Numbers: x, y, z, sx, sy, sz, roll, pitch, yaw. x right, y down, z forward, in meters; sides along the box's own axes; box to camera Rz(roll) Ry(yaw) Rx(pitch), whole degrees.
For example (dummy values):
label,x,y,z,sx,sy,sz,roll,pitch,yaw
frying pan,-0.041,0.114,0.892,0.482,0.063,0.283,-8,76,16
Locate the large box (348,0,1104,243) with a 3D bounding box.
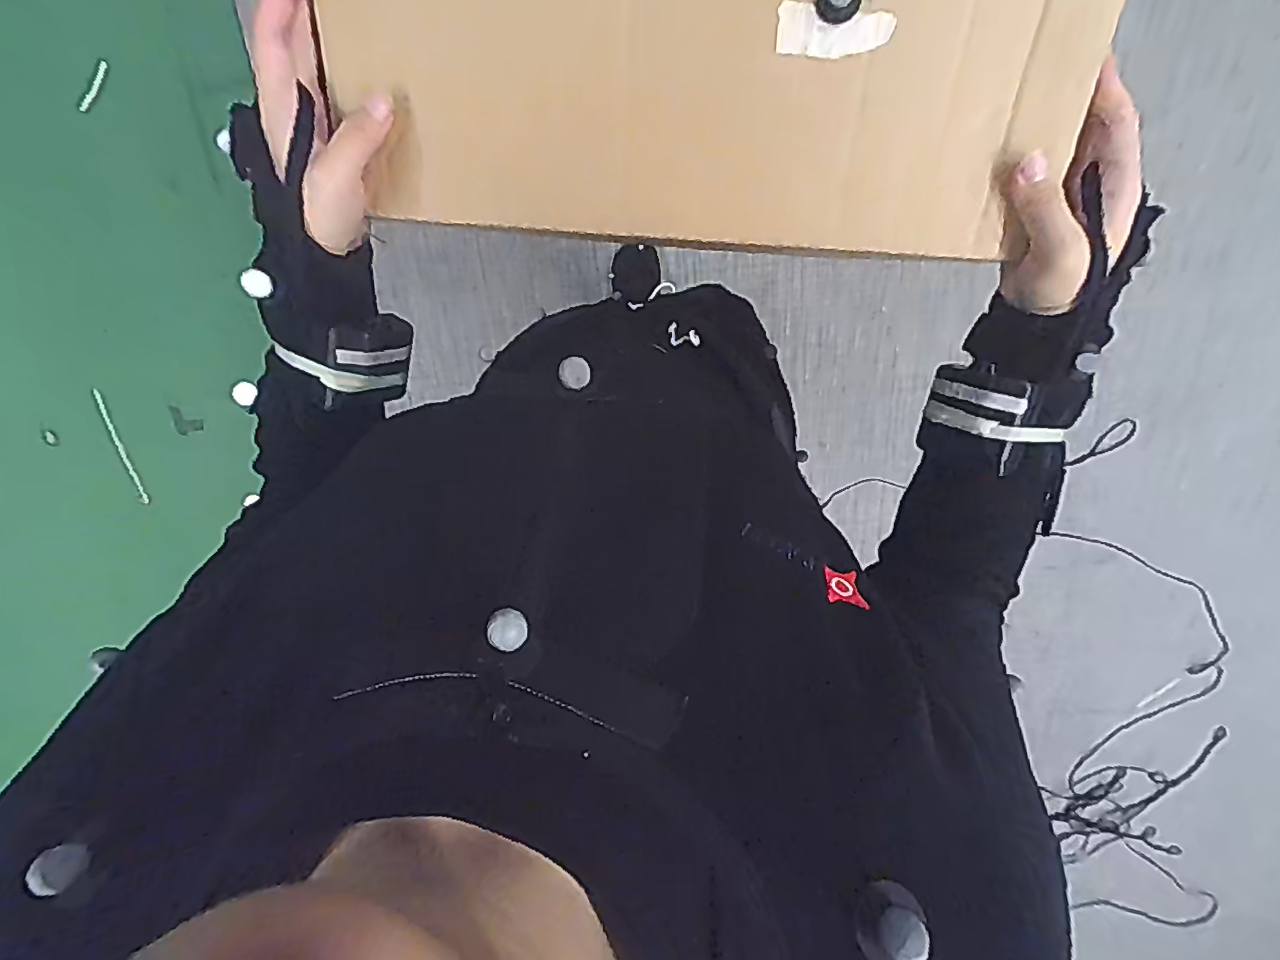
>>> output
label,x,y,z,sx,sy,sz,roll,pitch,yaw
large box,0.048,-0.356,0.403,0.408,0.320,0.320,4,114,1
